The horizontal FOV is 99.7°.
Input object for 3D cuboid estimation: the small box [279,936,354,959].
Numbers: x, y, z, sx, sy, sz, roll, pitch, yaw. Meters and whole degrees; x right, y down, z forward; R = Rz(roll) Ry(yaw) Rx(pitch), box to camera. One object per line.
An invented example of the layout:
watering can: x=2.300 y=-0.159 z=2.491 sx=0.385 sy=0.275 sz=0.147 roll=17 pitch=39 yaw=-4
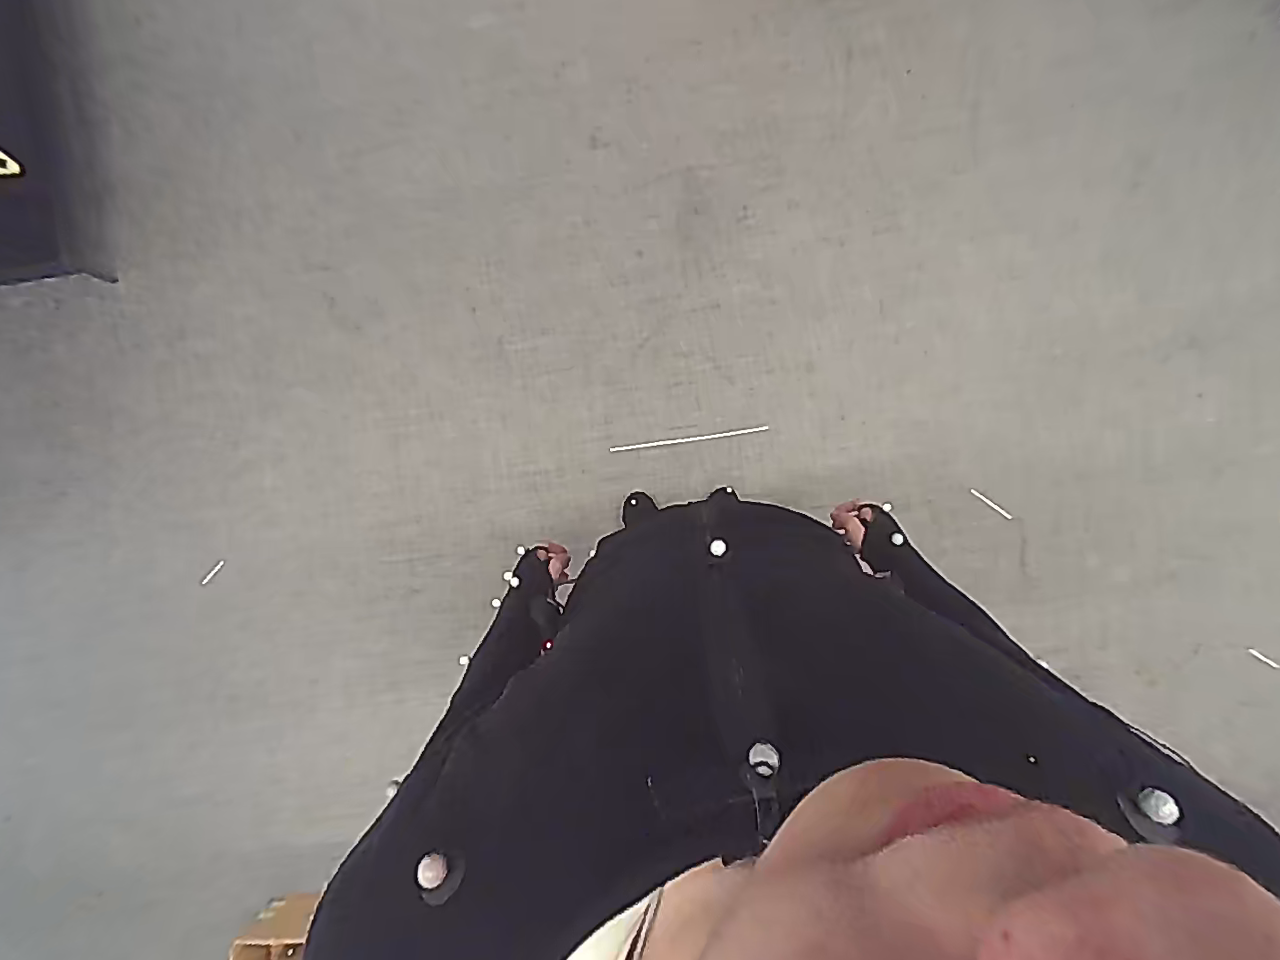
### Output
small box: x=-0.938 y=1.433 z=1.524 sx=0.179 sy=0.176 sz=0.168 roll=-3 pitch=90 yaw=3
